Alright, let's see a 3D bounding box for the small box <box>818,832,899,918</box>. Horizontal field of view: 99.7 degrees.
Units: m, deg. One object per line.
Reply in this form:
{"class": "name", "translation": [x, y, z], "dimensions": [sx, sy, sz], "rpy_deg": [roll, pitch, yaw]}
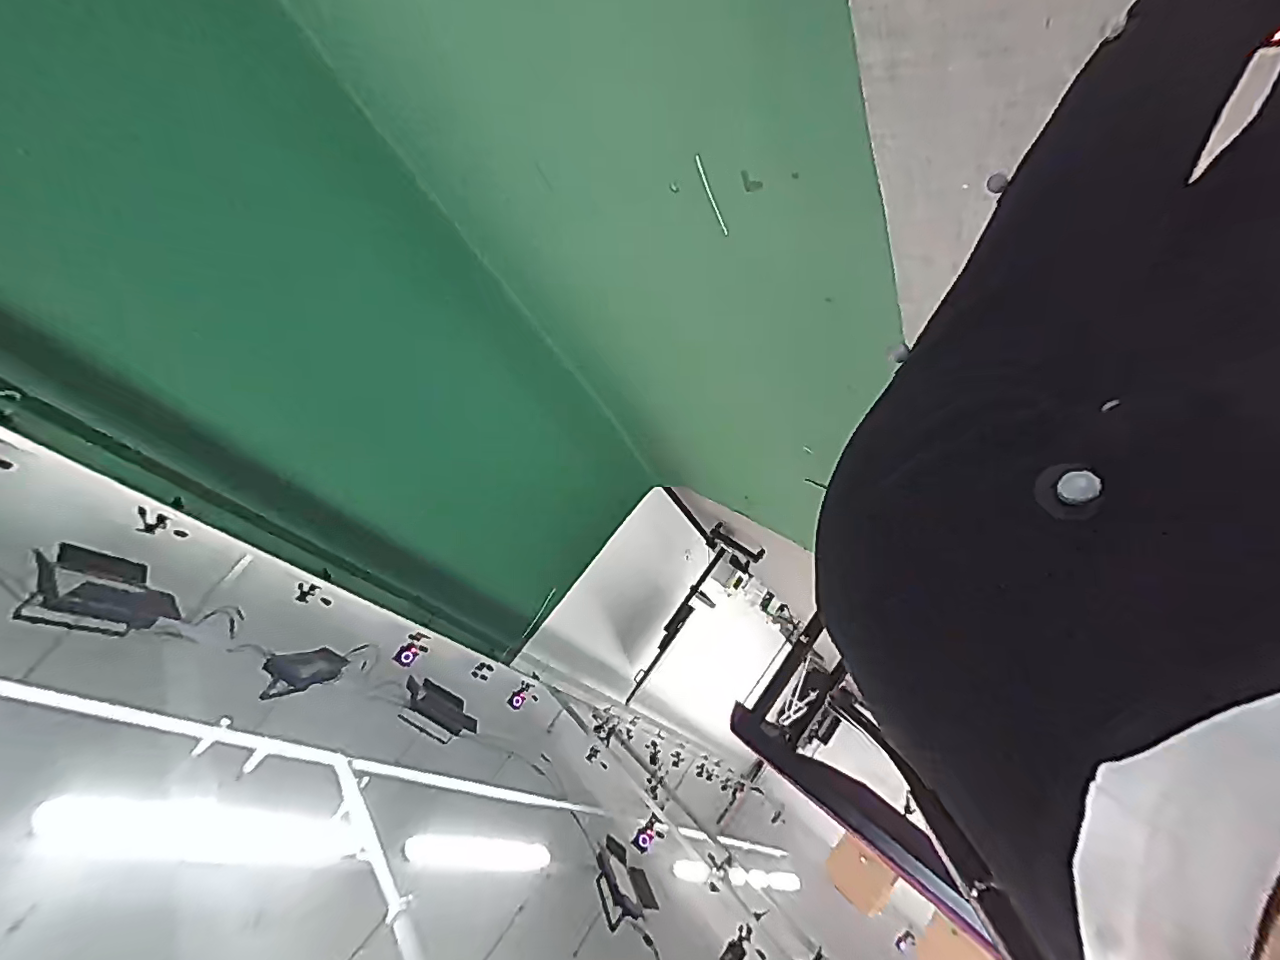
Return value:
{"class": "small box", "translation": [0.731, 1.307, 1.802], "dimensions": [0.179, 0.176, 0.168], "rpy_deg": [29, 167, 44]}
